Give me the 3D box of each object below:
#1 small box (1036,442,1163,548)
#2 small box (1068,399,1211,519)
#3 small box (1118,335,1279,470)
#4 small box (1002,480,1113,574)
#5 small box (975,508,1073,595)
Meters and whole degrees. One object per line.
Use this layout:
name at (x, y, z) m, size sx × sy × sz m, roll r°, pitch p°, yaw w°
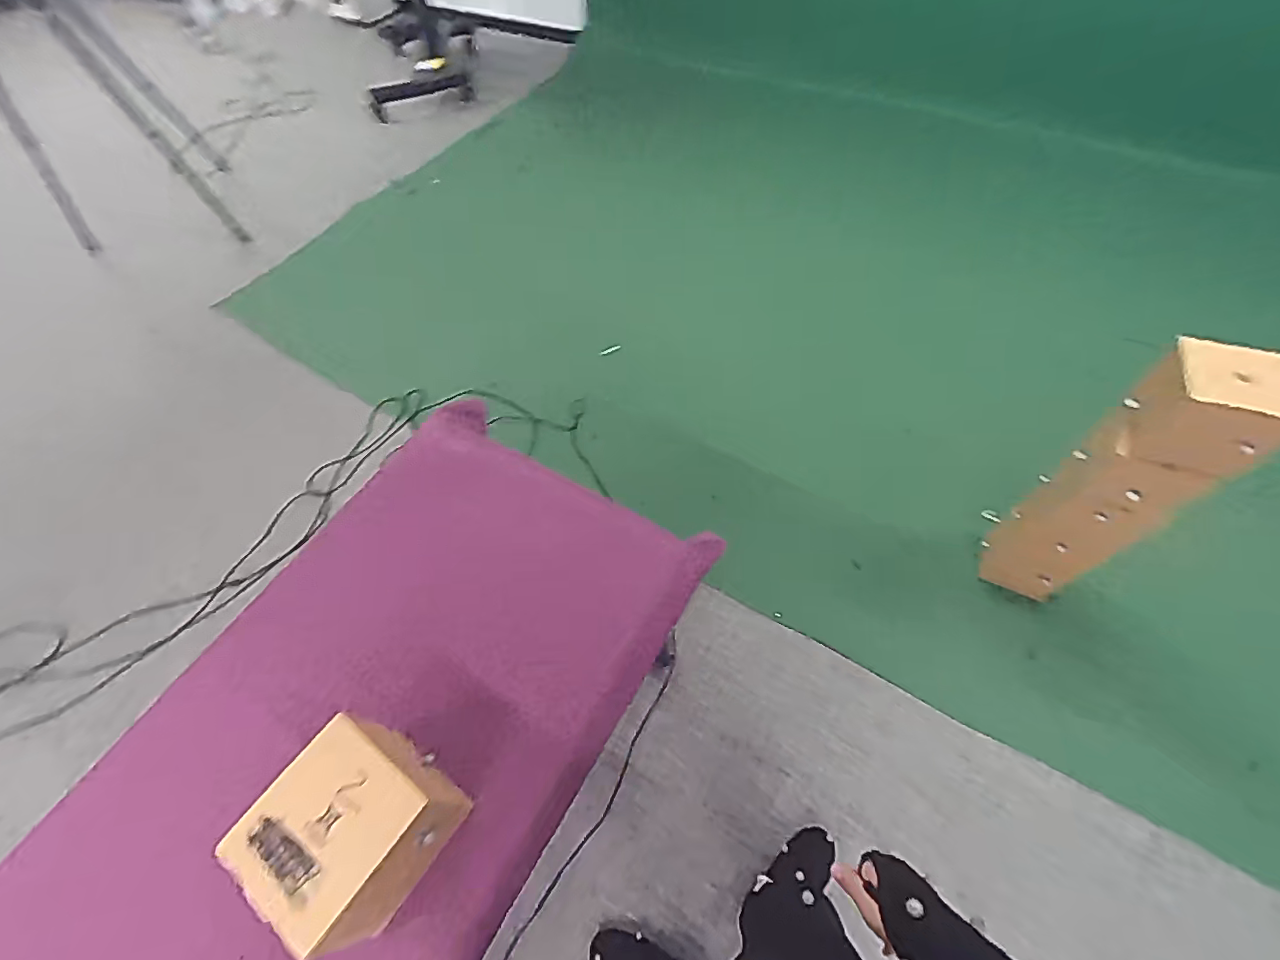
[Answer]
small box at (1.085, 0.039, 1.286) m, size 0.179 × 0.176 × 0.168 m, roll 22°, pitch 62°, yaw 17°
small box at (1.055, -0.046, 1.149) m, size 0.168 × 0.176 × 0.179 m, roll 25°, pitch 64°, yaw 19°
small box at (1.054, -0.140, 1.014) m, size 0.179 × 0.176 × 0.168 m, roll 16°, pitch 60°, yaw 16°
small box at (1.101, 0.127, 1.423) m, size 0.179 × 0.176 × 0.168 m, roll 23°, pitch 63°, yaw 18°
small box at (1.111, 0.213, 1.560) m, size 0.179 × 0.176 × 0.168 m, roll 22°, pitch 62°, yaw 17°
